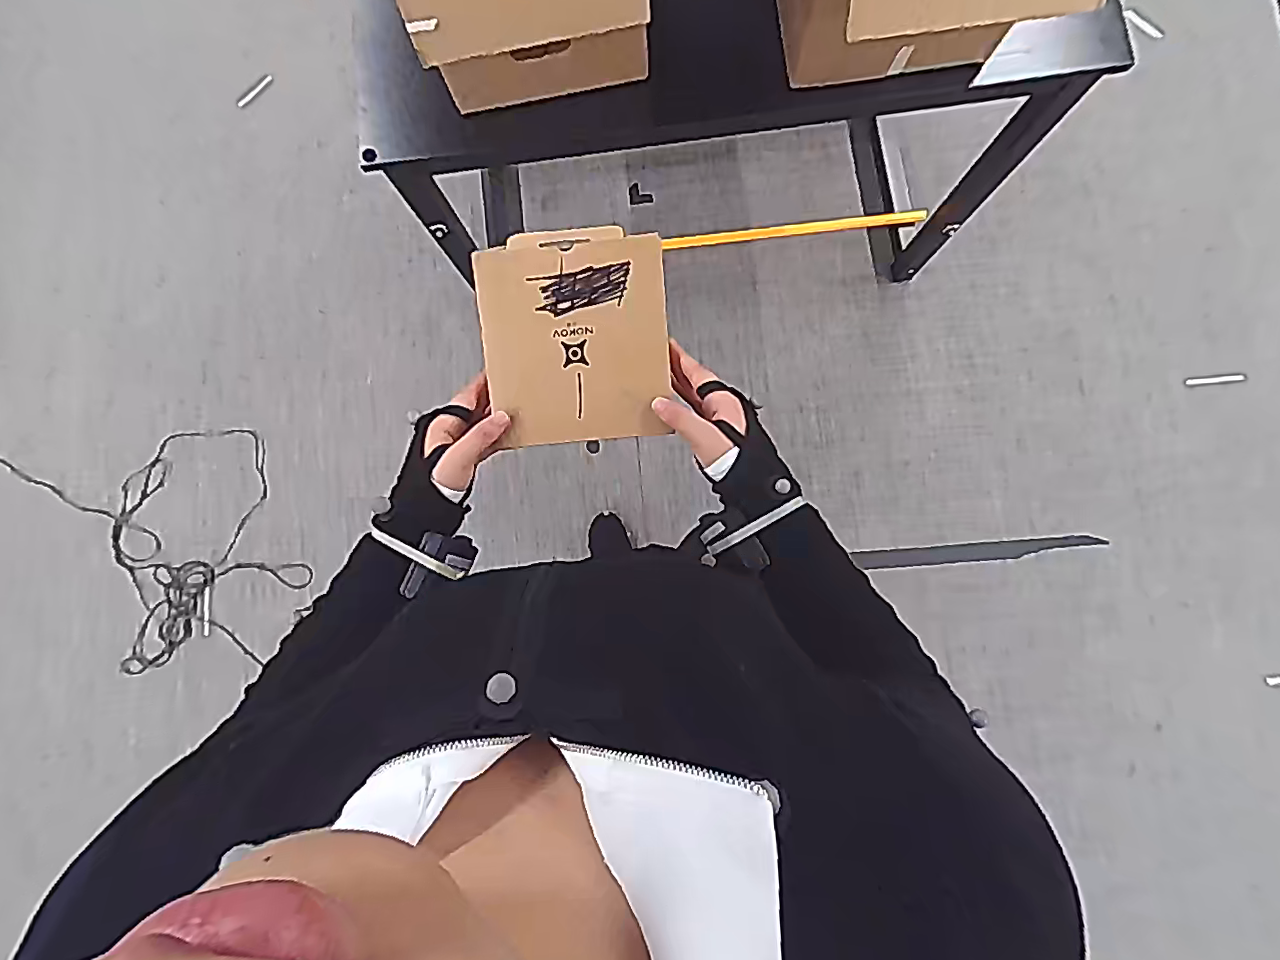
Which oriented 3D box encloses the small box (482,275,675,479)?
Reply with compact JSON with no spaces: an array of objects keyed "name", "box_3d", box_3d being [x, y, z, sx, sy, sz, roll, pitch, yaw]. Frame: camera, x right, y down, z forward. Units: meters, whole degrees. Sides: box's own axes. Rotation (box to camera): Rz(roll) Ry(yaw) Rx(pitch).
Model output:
[{"name":"small box","box_3d":[-0.055,-0.100,0.571,0.168,0.176,0.179,-5,97,2]}]
